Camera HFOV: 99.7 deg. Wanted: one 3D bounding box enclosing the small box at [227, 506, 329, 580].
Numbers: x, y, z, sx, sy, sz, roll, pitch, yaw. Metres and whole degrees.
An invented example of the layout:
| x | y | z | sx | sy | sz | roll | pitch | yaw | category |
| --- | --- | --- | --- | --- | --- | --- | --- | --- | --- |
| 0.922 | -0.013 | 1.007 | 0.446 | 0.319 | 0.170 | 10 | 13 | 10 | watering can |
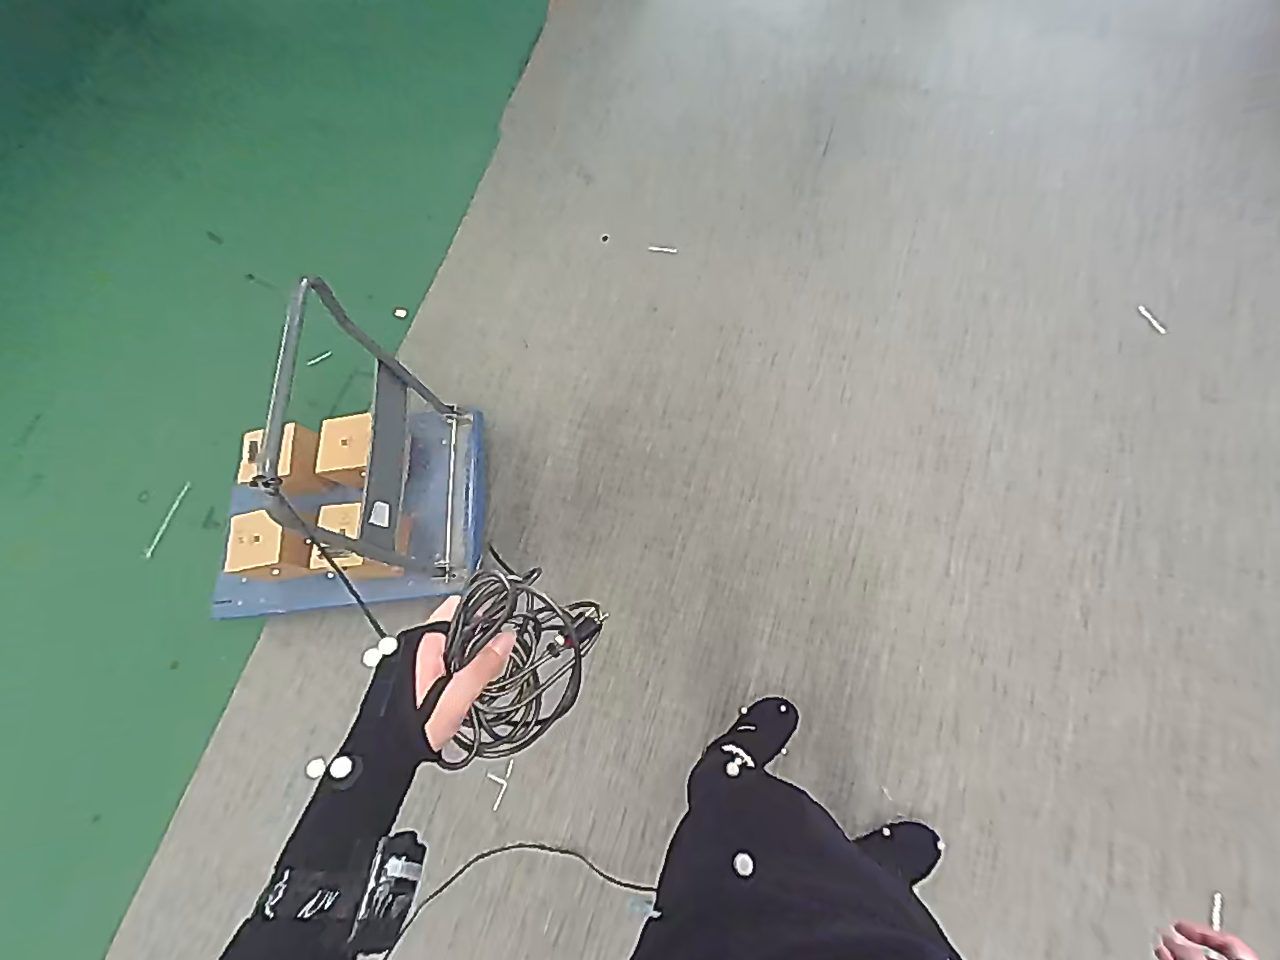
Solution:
| x | y | z | sx | sy | sz | roll | pitch | yaw | category |
| --- | --- | --- | --- | --- | --- | --- | --- | --- | --- |
| -1.033 | 0.187 | 1.560 | 0.179 | 0.176 | 0.168 | -12 | 69 | 10 | small box |

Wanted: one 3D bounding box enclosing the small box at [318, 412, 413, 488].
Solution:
| x | y | z | sx | sy | sz | roll | pitch | yaw | category |
| --- | --- | --- | --- | --- | --- | --- | --- | --- | --- |
| -0.803 | -0.081 | 1.597 | 0.179 | 0.176 | 0.168 | -7 | 70 | 11 | small box |

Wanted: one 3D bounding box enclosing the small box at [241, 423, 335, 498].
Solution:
| x | y | z | sx | sy | sz | roll | pitch | yaw | category |
| --- | --- | --- | --- | --- | --- | --- | --- | --- | --- |
| -1.061 | -0.053 | 1.648 | 0.179 | 0.176 | 0.168 | -9 | 70 | 10 | small box |
